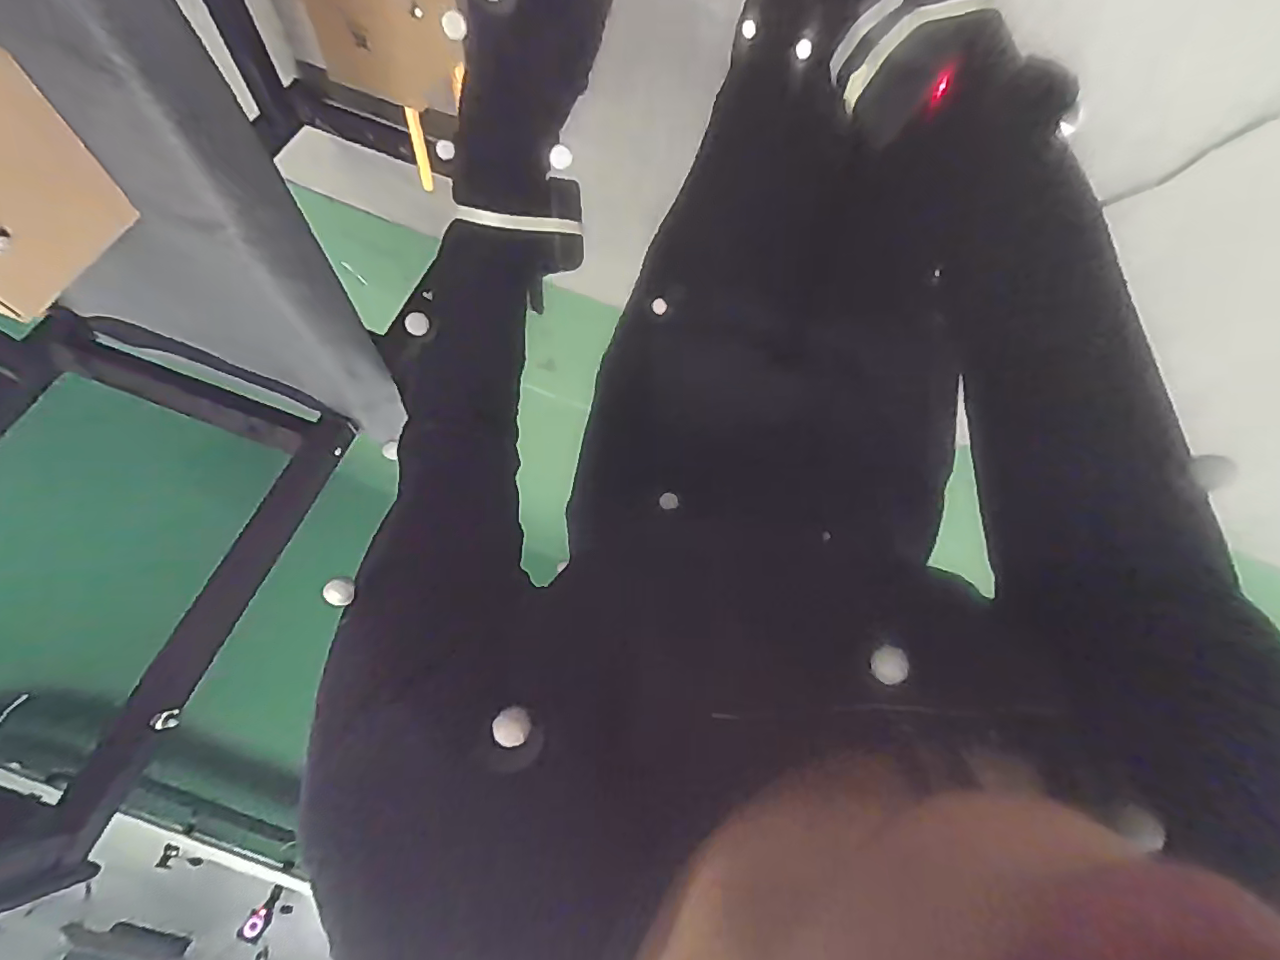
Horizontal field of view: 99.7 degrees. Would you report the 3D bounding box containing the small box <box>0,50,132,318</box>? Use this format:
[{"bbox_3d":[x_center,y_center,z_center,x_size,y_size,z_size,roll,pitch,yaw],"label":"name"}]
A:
[{"bbox_3d":[-0.635,-0.289,0.485,0.168,0.176,0.179,22,156,-3],"label":"small box"}]
